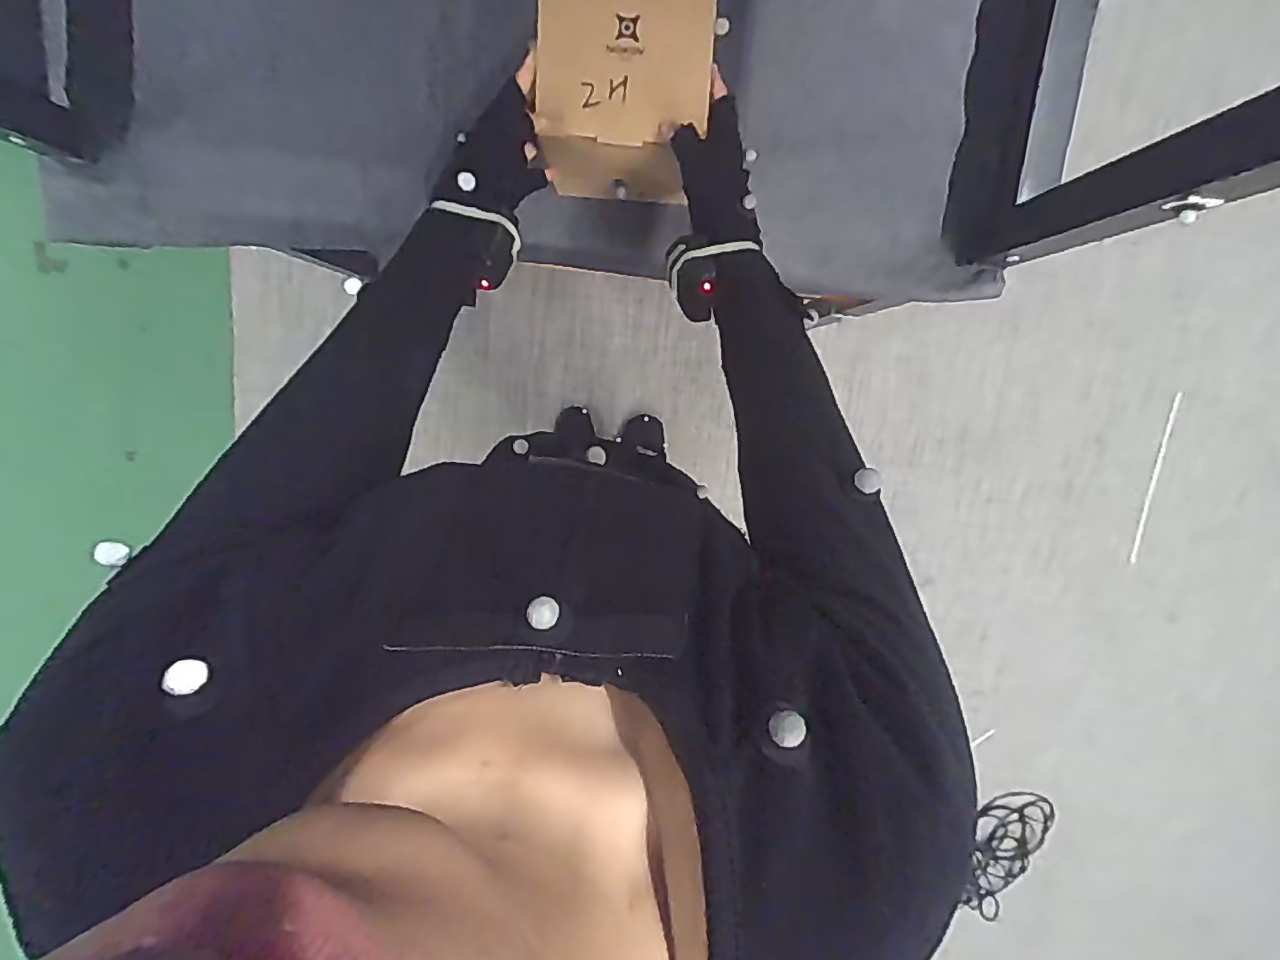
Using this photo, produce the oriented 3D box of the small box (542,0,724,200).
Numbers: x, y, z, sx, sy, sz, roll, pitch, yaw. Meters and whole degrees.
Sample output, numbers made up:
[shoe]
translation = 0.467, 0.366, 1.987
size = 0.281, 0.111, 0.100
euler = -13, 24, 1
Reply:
[small box]
translation = -0.008, -0.430, 0.583
size = 0.168, 0.176, 0.179
euler = 4, 100, -1
